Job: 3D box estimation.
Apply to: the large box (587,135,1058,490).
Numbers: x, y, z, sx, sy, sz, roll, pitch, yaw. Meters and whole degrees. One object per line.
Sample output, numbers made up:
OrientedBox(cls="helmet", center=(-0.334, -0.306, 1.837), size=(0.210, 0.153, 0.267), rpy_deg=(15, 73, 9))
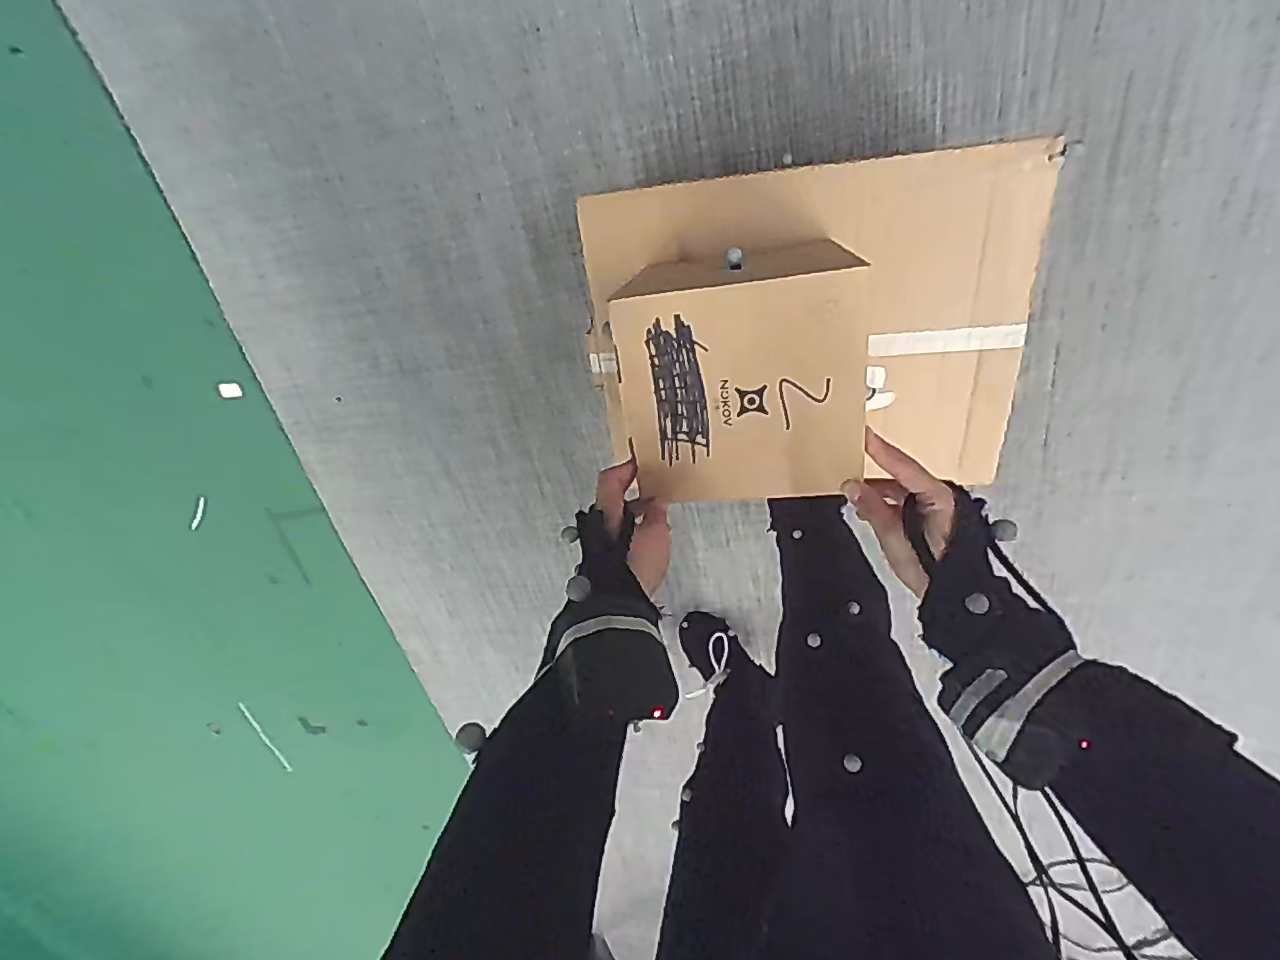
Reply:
OrientedBox(cls="large box", center=(0.182, -0.200, 0.667), size=(0.408, 0.320, 0.320), rpy_deg=(-2, 118, 11))
